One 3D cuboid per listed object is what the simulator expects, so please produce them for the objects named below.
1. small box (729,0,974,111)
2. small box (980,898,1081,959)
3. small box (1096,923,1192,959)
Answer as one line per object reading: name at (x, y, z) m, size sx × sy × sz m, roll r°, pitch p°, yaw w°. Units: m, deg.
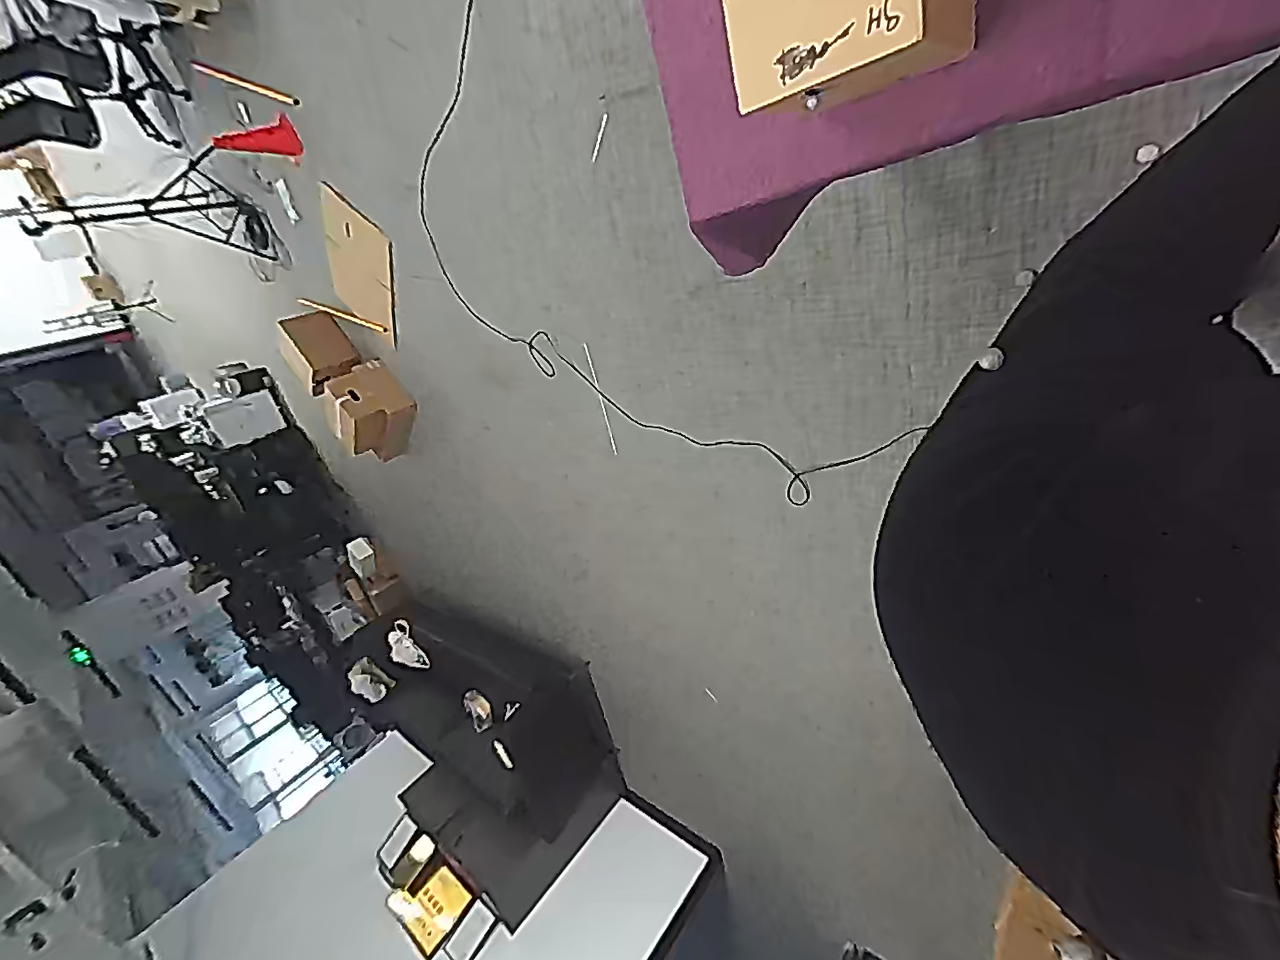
small box at (0.194, -0.461, 0.492) m, size 0.168 × 0.176 × 0.179 m, roll 9°, pitch 122°, yaw 42°
small box at (0.936, 1.175, 1.306) m, size 0.168 × 0.176 × 0.179 m, roll 18°, pitch 129°, yaw 37°
small box at (1.230, 1.240, 1.321) m, size 0.179 × 0.176 × 0.168 m, roll 8°, pitch 124°, yaw 42°
